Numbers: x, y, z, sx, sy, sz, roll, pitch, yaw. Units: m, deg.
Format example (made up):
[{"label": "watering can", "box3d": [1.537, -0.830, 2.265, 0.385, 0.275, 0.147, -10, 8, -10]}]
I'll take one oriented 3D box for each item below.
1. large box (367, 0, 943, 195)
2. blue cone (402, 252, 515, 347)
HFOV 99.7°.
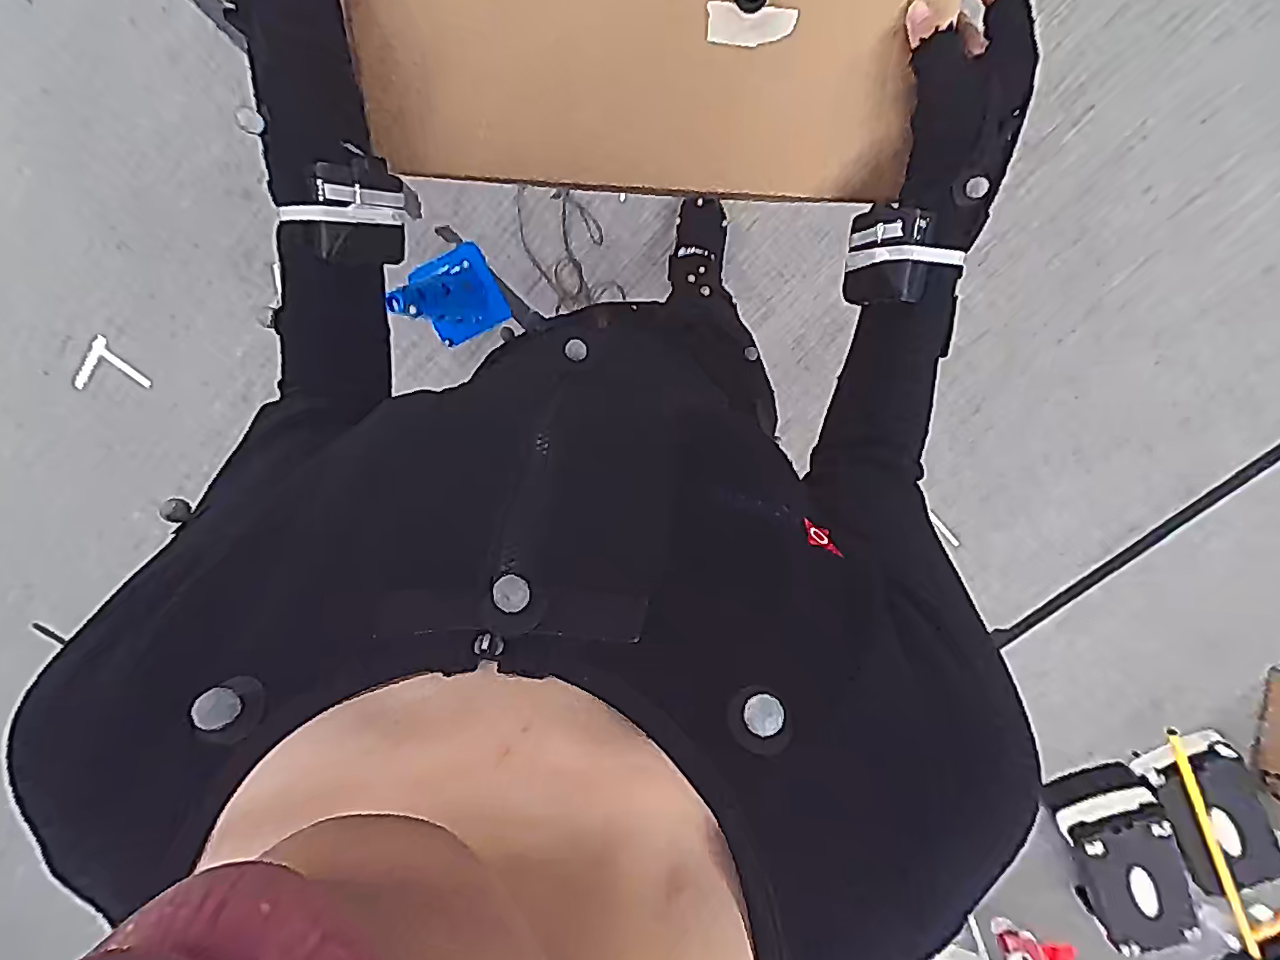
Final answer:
[{"label": "large box", "box3d": [0.012, -0.440, 0.482, 0.408, 0.320, 0.320, 3, 117, -1]}, {"label": "blue cone", "box3d": [-0.437, -0.396, 1.208, 0.193, 0.380, 0.192, -21, 109, 11]}]
